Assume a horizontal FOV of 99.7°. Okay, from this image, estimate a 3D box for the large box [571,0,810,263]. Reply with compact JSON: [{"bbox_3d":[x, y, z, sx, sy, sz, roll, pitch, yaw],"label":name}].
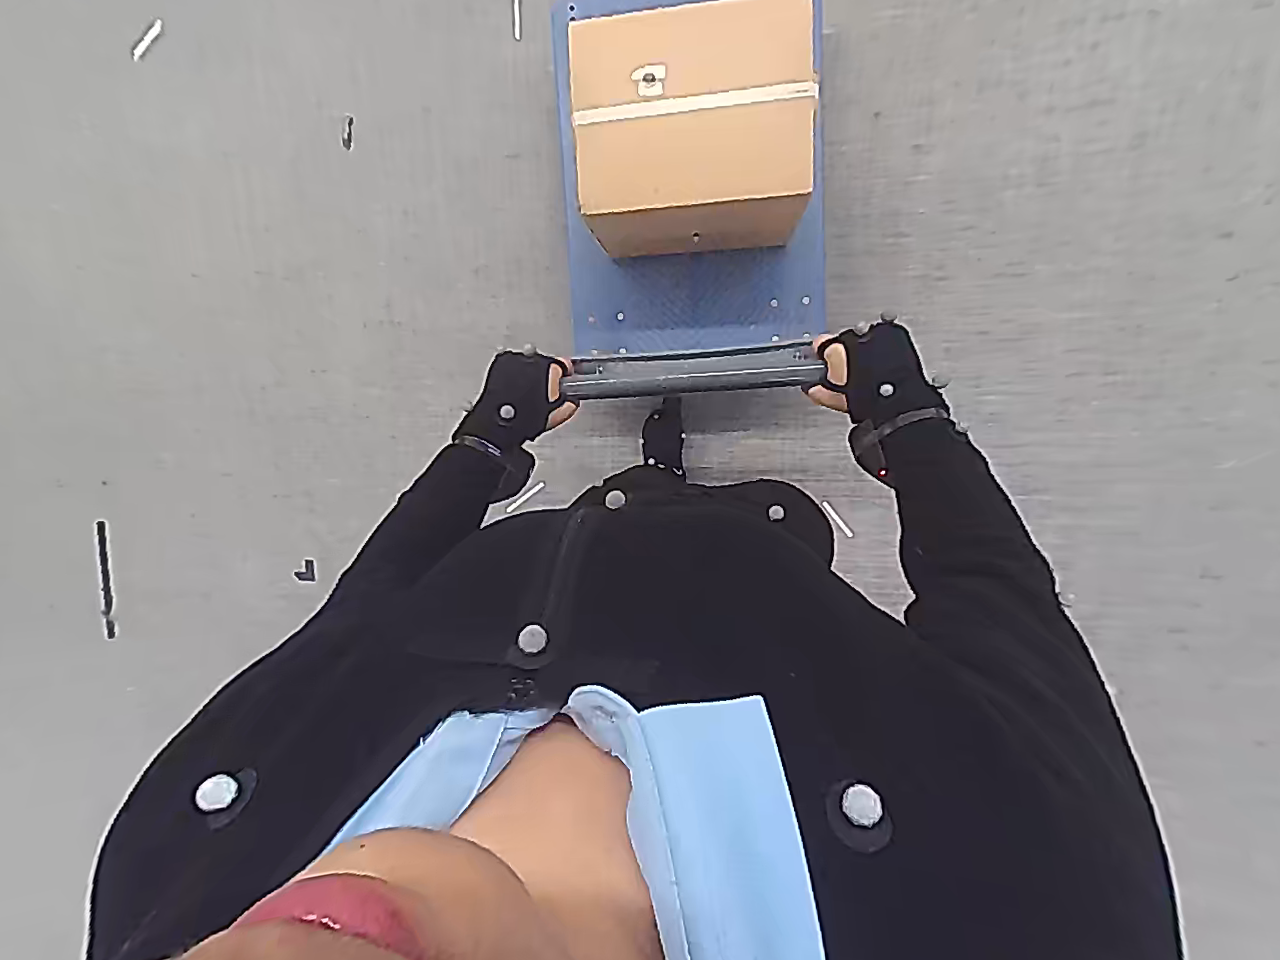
[{"bbox_3d":[0.107,-0.645,1.076,0.408,0.320,0.320,-2,97,9],"label":"large box"}]
